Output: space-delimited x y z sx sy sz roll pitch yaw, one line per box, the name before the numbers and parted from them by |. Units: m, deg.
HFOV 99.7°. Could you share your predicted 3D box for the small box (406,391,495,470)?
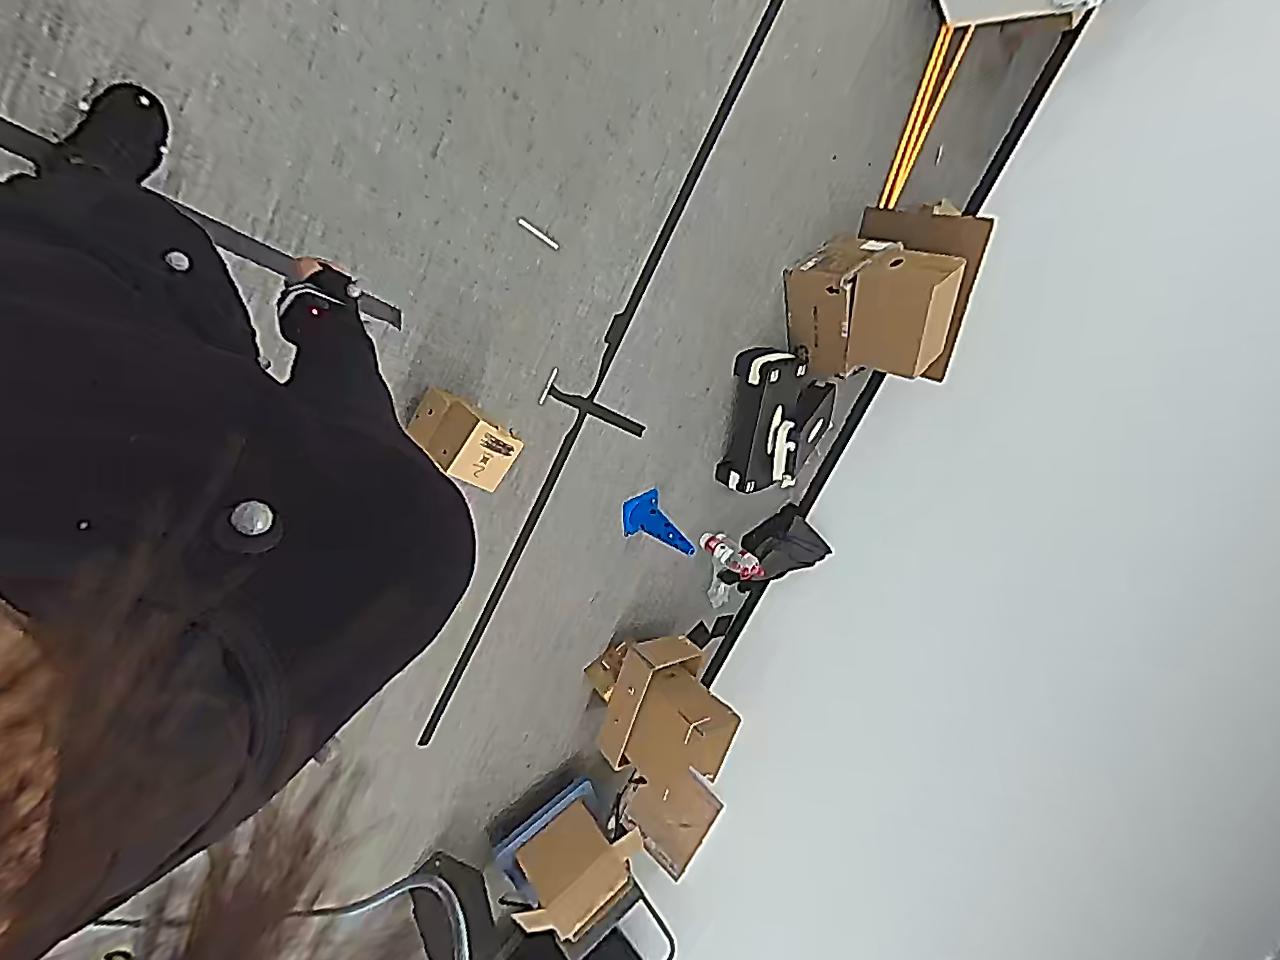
small box | -0.587 -0.157 1.659 0.179 0.176 0.168 24 98 -48
